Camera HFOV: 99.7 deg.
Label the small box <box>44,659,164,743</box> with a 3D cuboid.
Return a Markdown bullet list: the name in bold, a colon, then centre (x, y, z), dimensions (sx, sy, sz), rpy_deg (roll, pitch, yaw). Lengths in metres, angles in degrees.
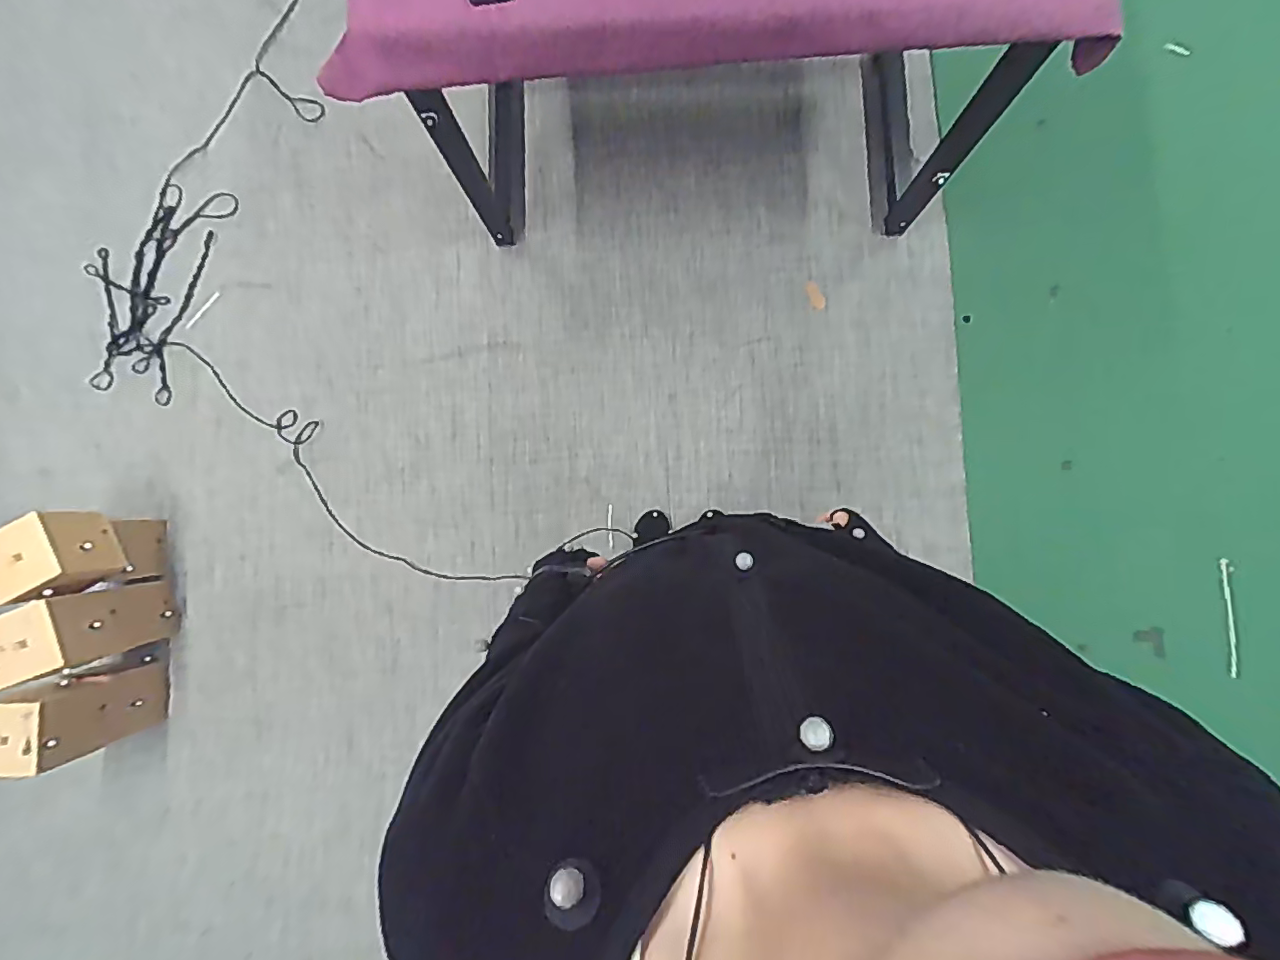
- **small box**: centre (-1.444, 0.592, 1.467), dimensions (0.168, 0.176, 0.179), rpy_deg (-2, 87, 3)

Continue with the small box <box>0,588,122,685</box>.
- **small box**: centre (-1.424, 0.373, 1.318), dimensions (0.179, 0.176, 0.168), rpy_deg (-20, 86, 2)

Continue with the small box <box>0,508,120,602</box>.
- **small box**: centre (-1.444, 0.177, 1.330), dimensions (0.179, 0.176, 0.168), rpy_deg (-27, 85, 2)
